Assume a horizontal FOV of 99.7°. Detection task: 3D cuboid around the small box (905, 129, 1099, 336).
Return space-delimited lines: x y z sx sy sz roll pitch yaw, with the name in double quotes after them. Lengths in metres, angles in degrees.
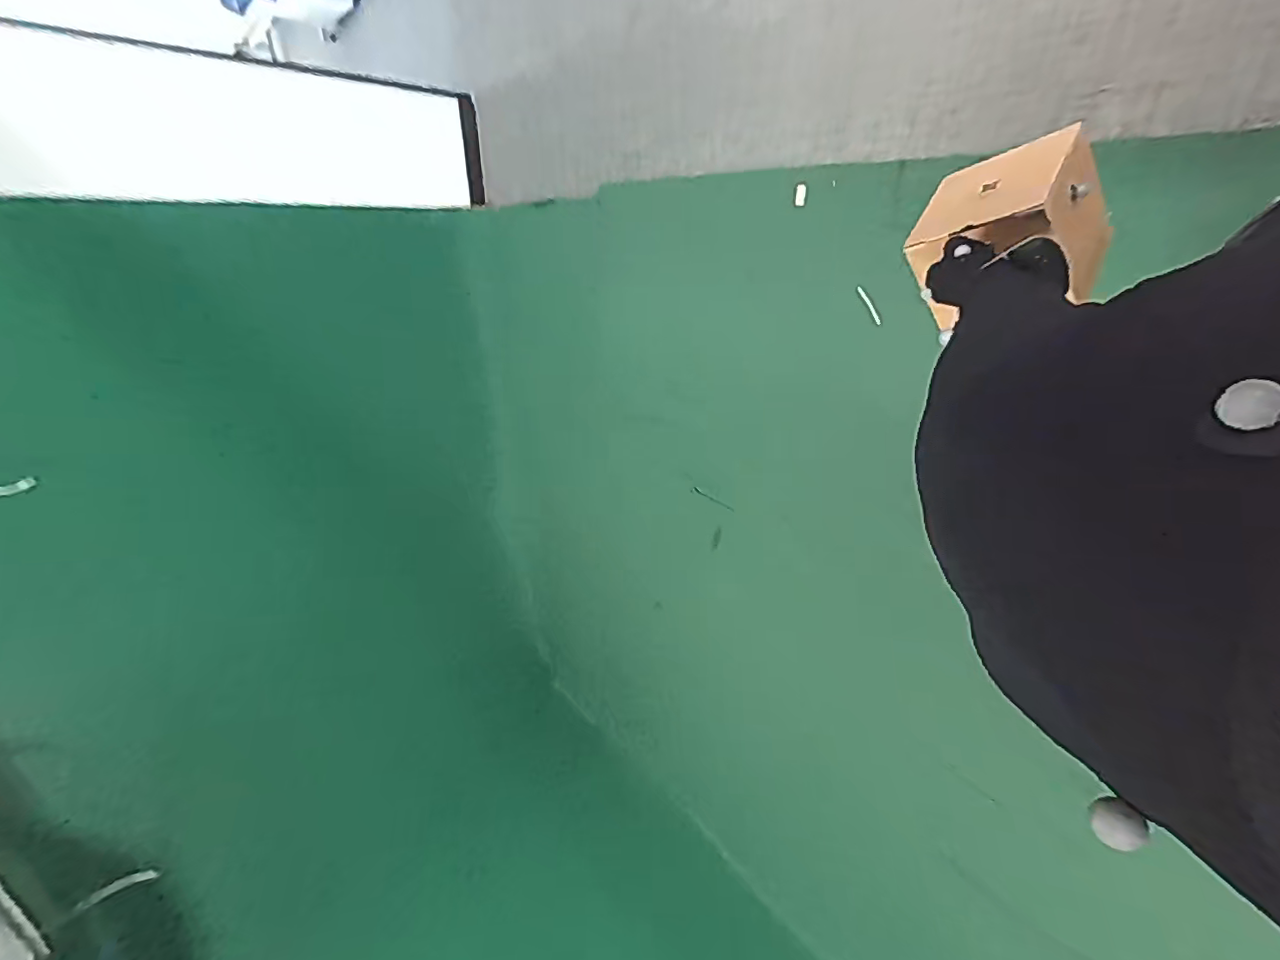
0.506 -0.328 0.750 0.176 0.179 0.168 46 157 -28 "small box"
